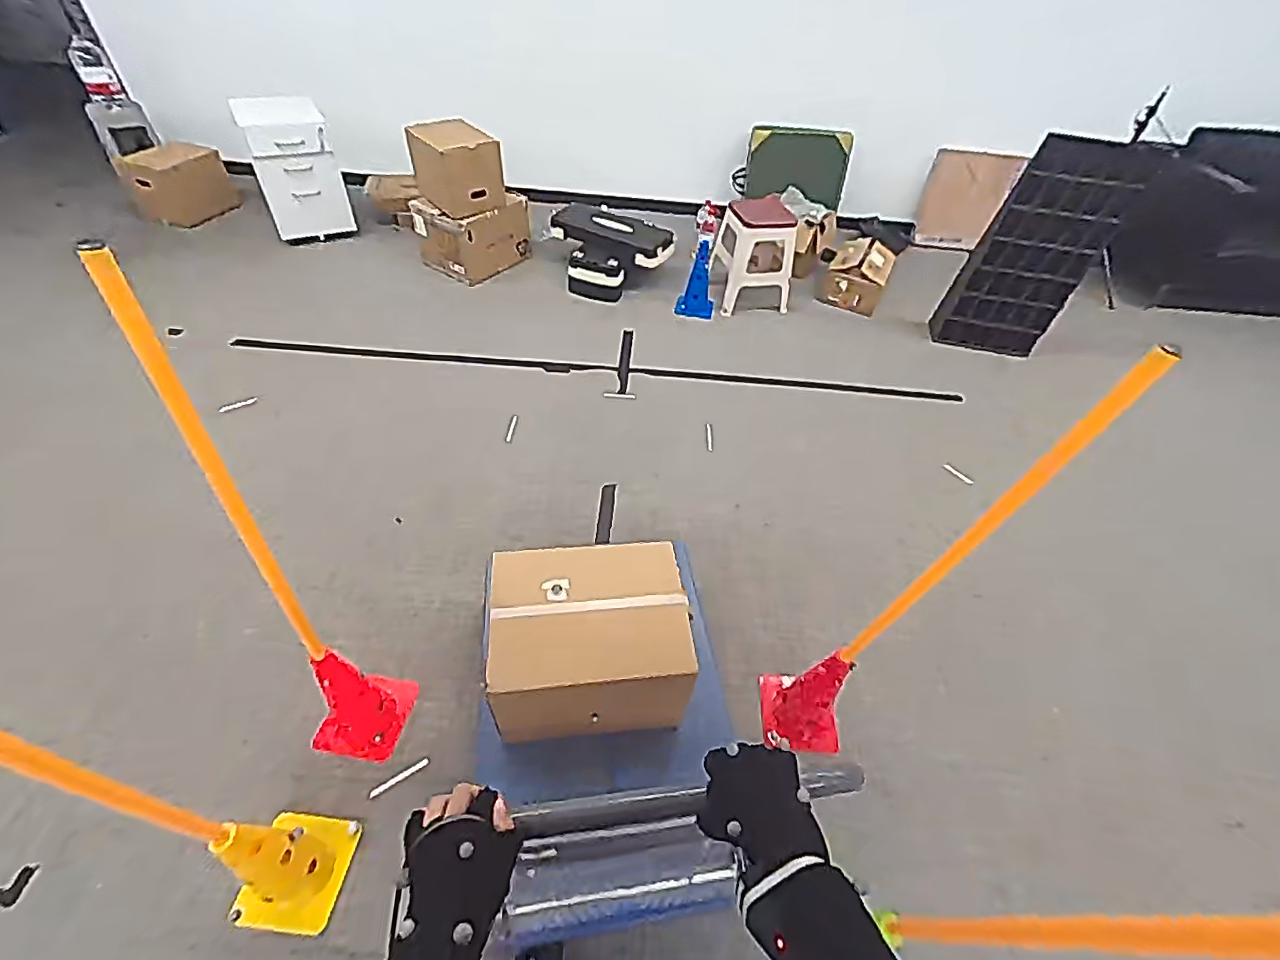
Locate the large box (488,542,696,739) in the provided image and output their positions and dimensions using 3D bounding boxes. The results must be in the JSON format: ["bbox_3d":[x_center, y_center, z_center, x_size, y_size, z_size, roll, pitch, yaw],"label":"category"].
[{"bbox_3d":[-0.114,0.367,1.231,0.408,0.320,0.320,-3,48,-8],"label":"large box"}]

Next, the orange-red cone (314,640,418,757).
[{"bbox_3d":[-0.683,0.474,1.267,0.198,0.360,0.199,11,45,3],"label":"orange-red cone"}]

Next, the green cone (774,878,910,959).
[{"bbox_3d":[0.404,0.861,1.021,0.202,0.368,0.200,9,47,0],"label":"green cone"}]

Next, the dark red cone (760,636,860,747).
[{"bbox_3d":[0.449,0.498,1.341,0.201,0.394,0.202,6,47,-3],"label":"dark red cone"}]
